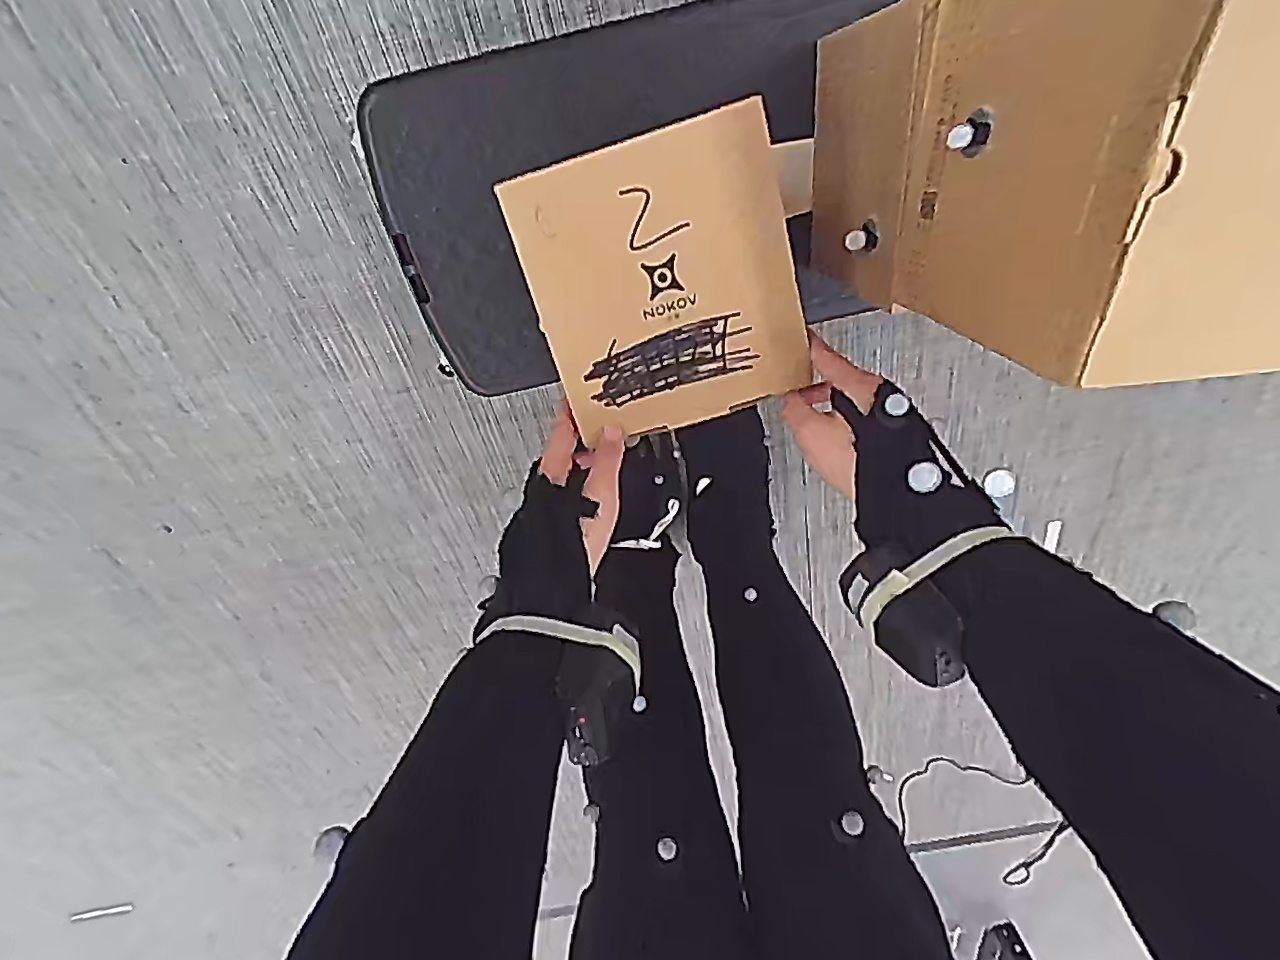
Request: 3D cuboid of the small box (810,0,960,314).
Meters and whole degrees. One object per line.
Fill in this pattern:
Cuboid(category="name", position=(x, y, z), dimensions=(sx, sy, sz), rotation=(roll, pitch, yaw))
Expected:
Cuboid(category="small box", position=(0.234, -0.241, 0.400), dimensions=(0.168, 0.176, 0.179), rotation=(-9, 121, 0))

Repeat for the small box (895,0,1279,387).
Cuboid(category="small box", position=(0.258, -0.159, 0.260), dimensions=(0.179, 0.176, 0.168), rotation=(-5, 122, -1))
